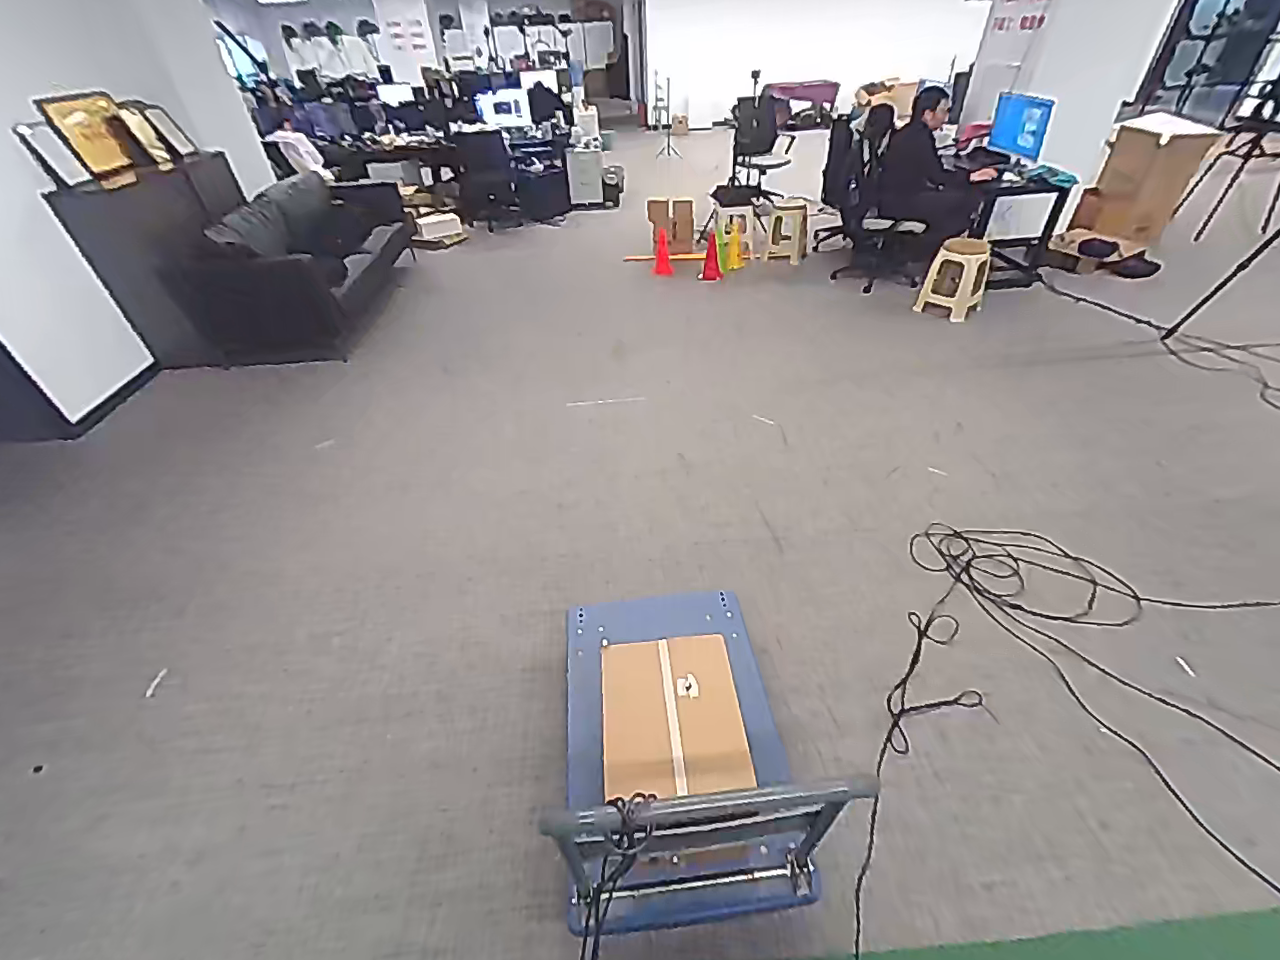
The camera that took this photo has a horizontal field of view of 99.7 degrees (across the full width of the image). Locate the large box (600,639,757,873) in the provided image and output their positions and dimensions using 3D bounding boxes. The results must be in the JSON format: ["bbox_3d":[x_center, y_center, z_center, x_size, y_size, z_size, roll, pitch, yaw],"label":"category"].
[{"bbox_3d":[0.075,0.659,1.315,0.320,0.320,0.408,-4,39,-2],"label":"large box"}]
